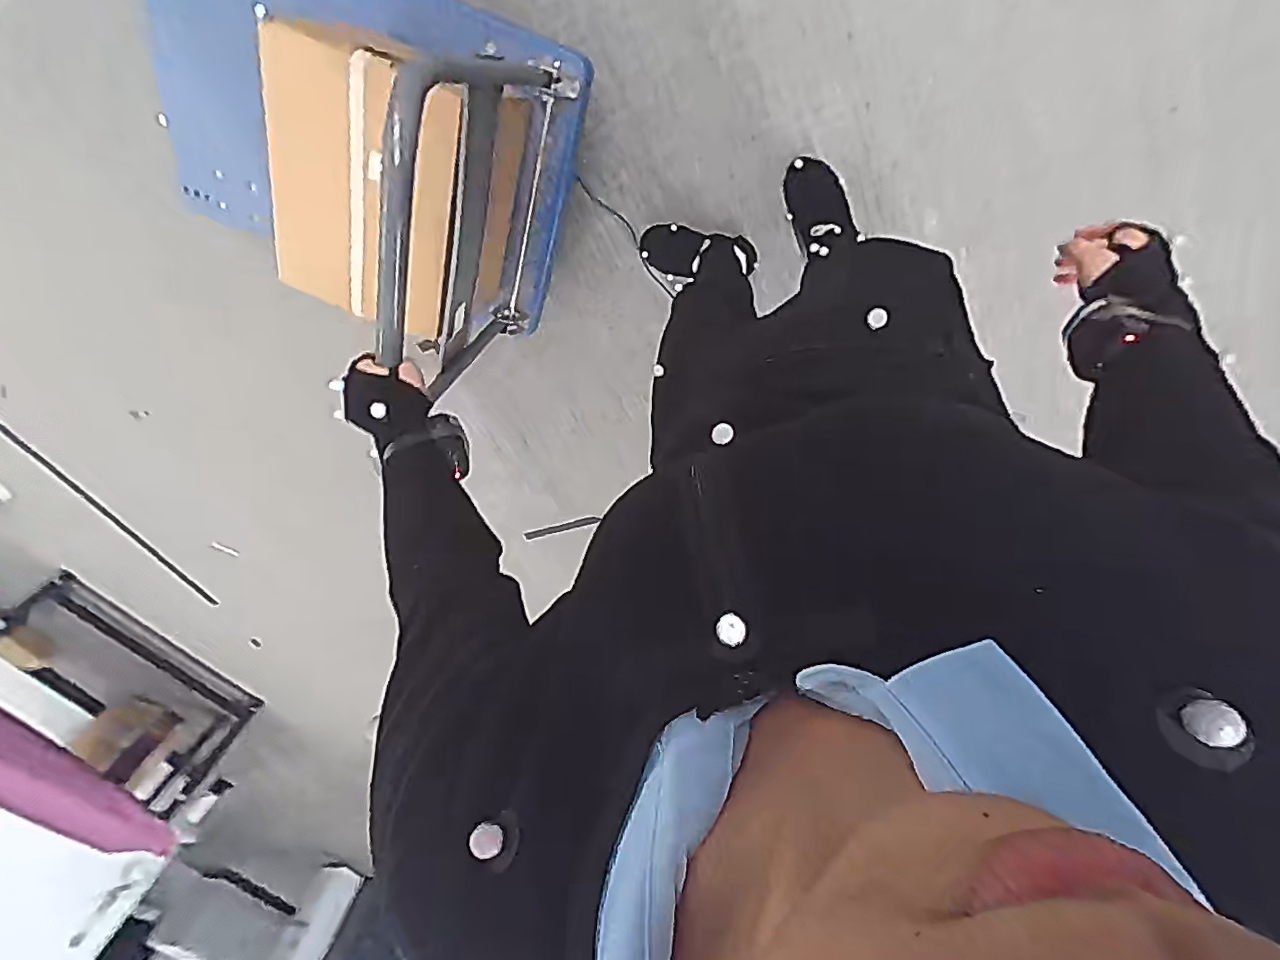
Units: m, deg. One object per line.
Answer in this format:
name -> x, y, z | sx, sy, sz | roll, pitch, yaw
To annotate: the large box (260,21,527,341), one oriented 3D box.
large box -> -0.439, -0.542, 1.020 | 0.320, 0.320, 0.408 | 20, 126, -4
